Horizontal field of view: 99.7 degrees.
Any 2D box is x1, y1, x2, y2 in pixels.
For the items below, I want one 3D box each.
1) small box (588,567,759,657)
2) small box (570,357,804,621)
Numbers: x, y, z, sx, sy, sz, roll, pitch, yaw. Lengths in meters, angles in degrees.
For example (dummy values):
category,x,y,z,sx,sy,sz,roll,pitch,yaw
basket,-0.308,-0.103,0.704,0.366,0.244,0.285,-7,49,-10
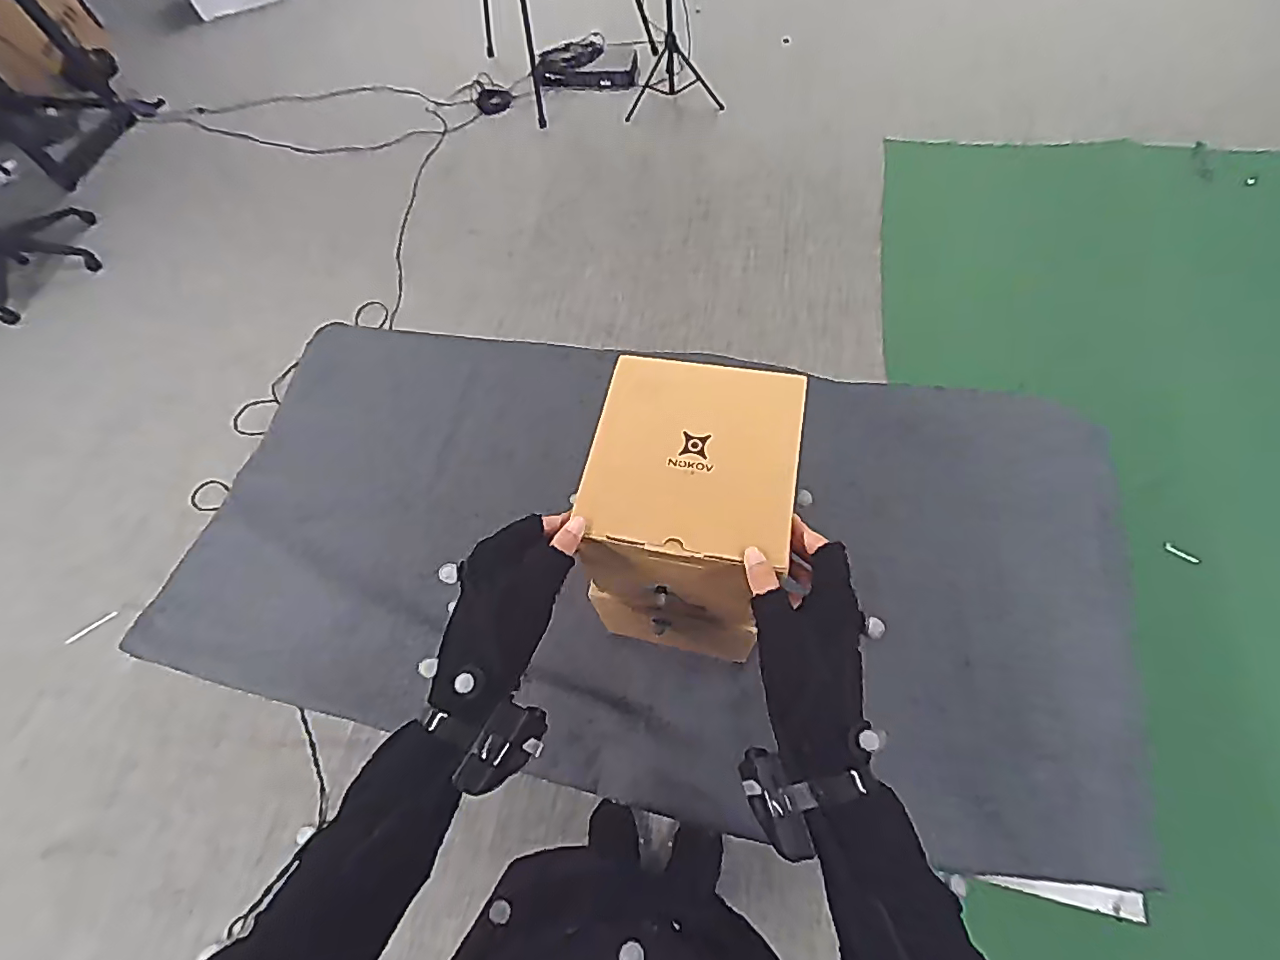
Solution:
category,x,y,z,sx,sy,sz,roll,pitch,yaw
small box,0.055,0.101,0.642,0.179,0.176,0.168,10,63,10
small box,0.048,0.014,0.504,0.168,0.176,0.179,9,64,10
